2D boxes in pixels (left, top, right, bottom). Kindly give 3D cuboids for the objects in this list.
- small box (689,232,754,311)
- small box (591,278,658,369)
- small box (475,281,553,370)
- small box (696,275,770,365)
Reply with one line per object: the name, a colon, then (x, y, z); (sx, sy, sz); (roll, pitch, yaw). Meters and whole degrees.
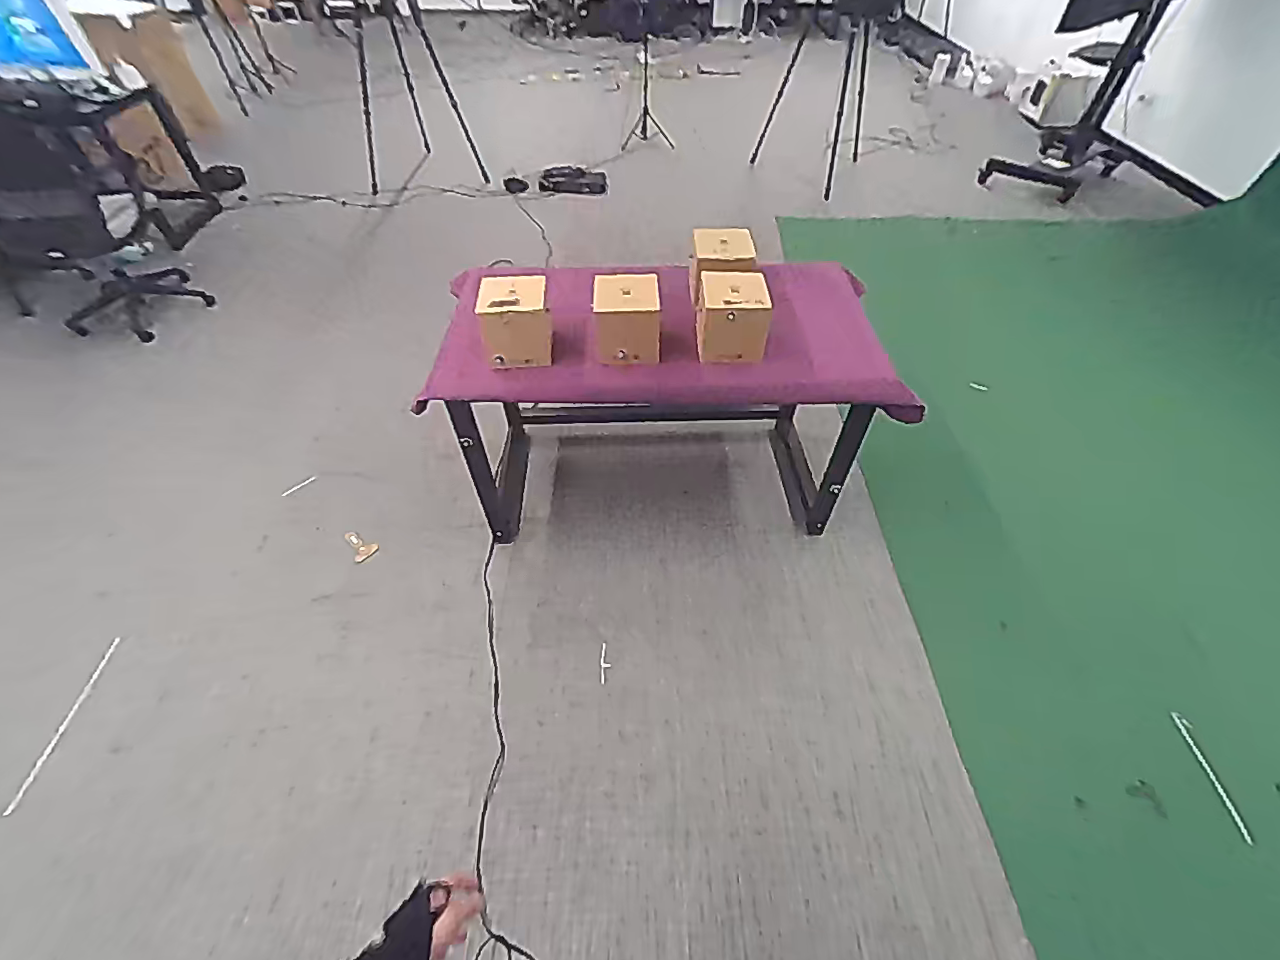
small box: (0.234, -0.613, 1.598); (0.168, 0.176, 0.179); (-1, 50, 1)
small box: (-0.038, -0.415, 1.436); (0.168, 0.176, 0.179); (-2, 50, 0)
small box: (-0.324, -0.402, 1.426); (0.168, 0.176, 0.179); (-4, 47, -3)
small box: (0.238, -0.425, 1.437); (0.168, 0.176, 0.179); (-1, 49, 1)
